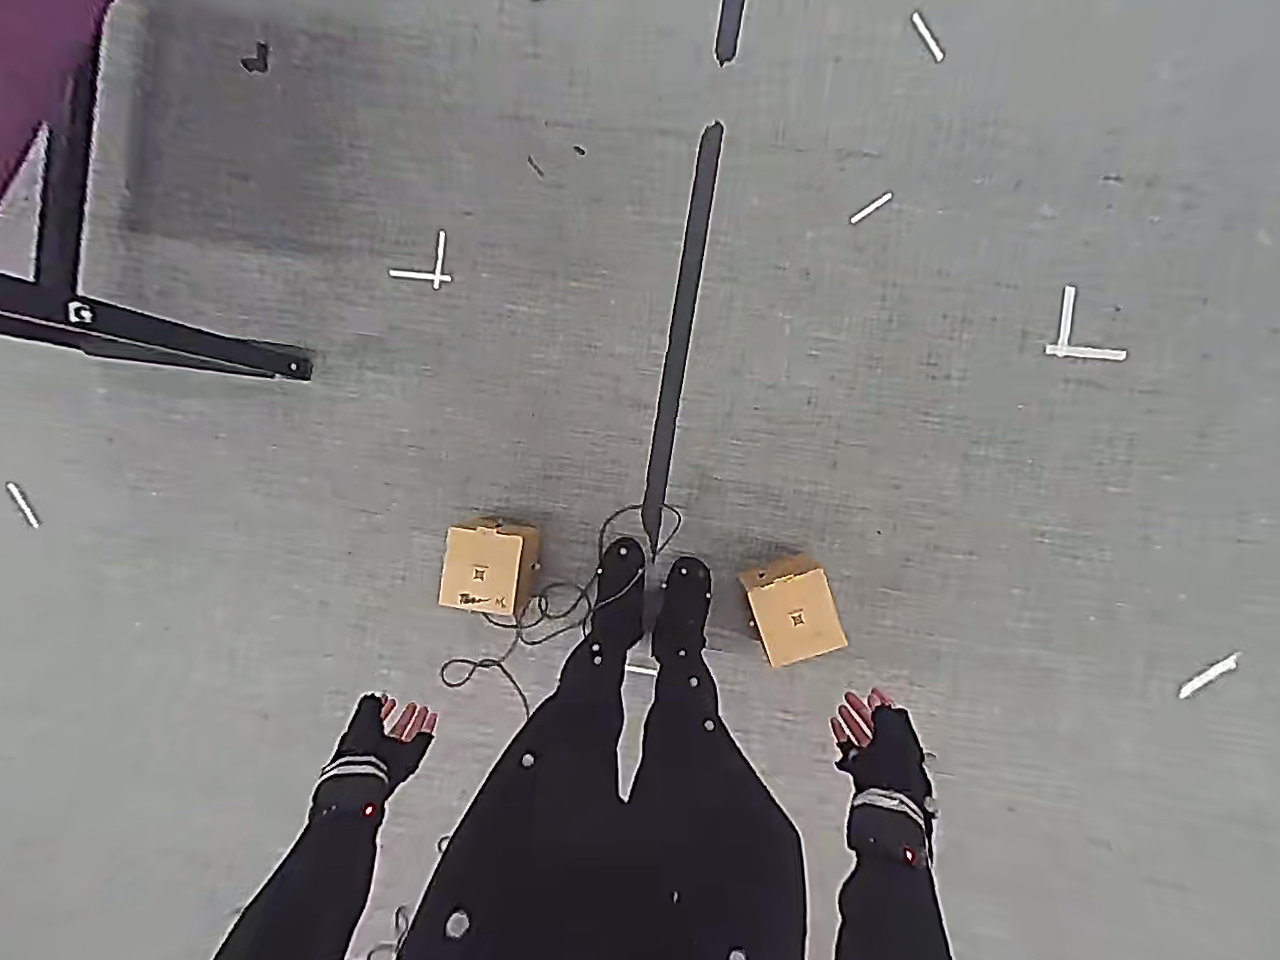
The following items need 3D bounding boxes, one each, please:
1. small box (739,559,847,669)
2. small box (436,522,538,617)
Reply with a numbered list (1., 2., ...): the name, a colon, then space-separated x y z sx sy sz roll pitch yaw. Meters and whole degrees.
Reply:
1. small box: 0.327 0.284 1.193 0.168 0.176 0.179 -19 91 5
2. small box: -0.337 0.194 1.225 0.168 0.176 0.179 9 90 3
